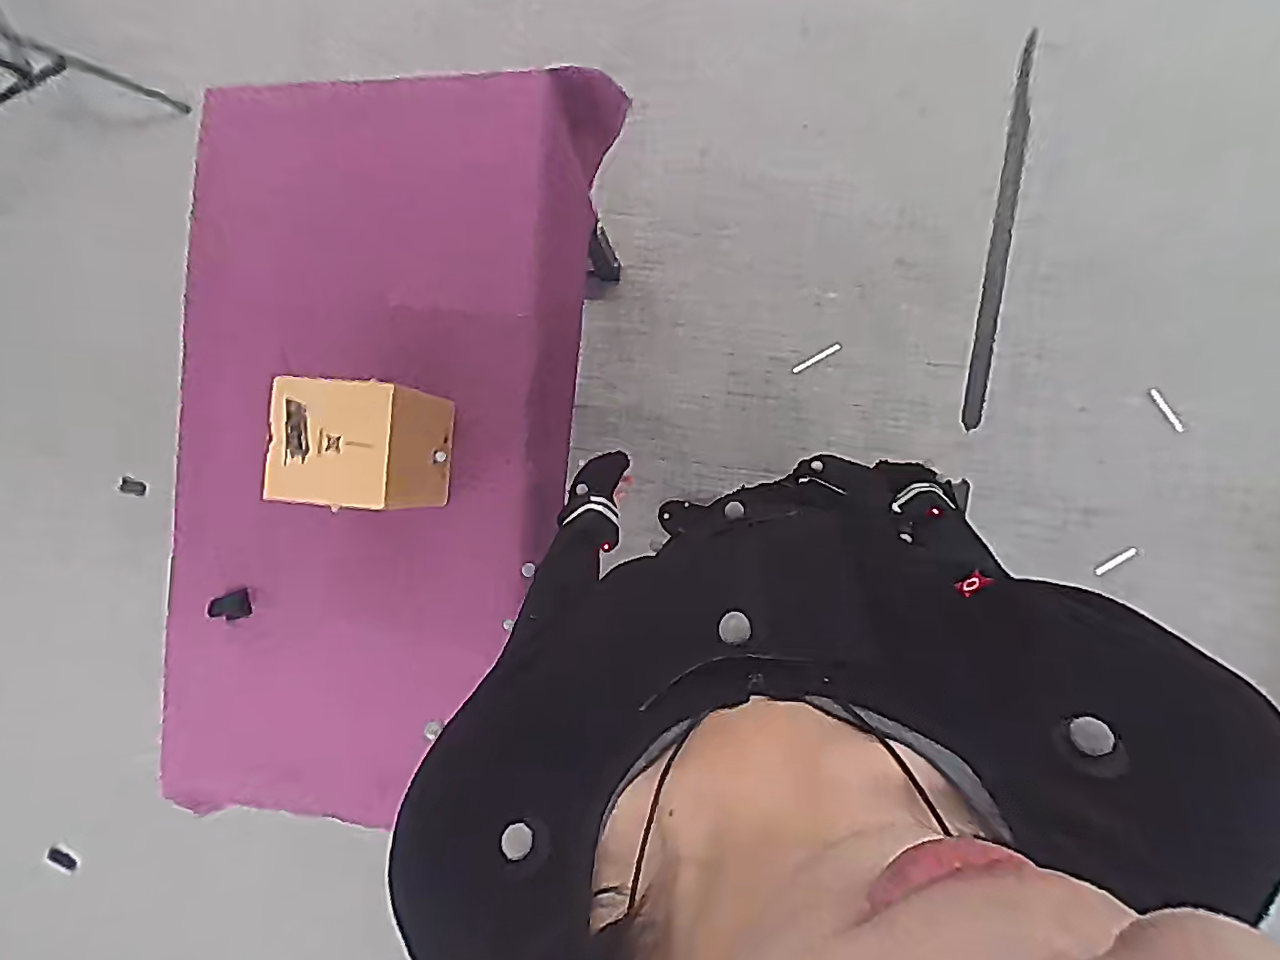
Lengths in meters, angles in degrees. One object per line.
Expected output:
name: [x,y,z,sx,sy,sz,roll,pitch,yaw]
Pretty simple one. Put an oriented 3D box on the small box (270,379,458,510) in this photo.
small box: [-0.392,-0.046,0.791,0.179,0.176,0.168,4,90,8]
